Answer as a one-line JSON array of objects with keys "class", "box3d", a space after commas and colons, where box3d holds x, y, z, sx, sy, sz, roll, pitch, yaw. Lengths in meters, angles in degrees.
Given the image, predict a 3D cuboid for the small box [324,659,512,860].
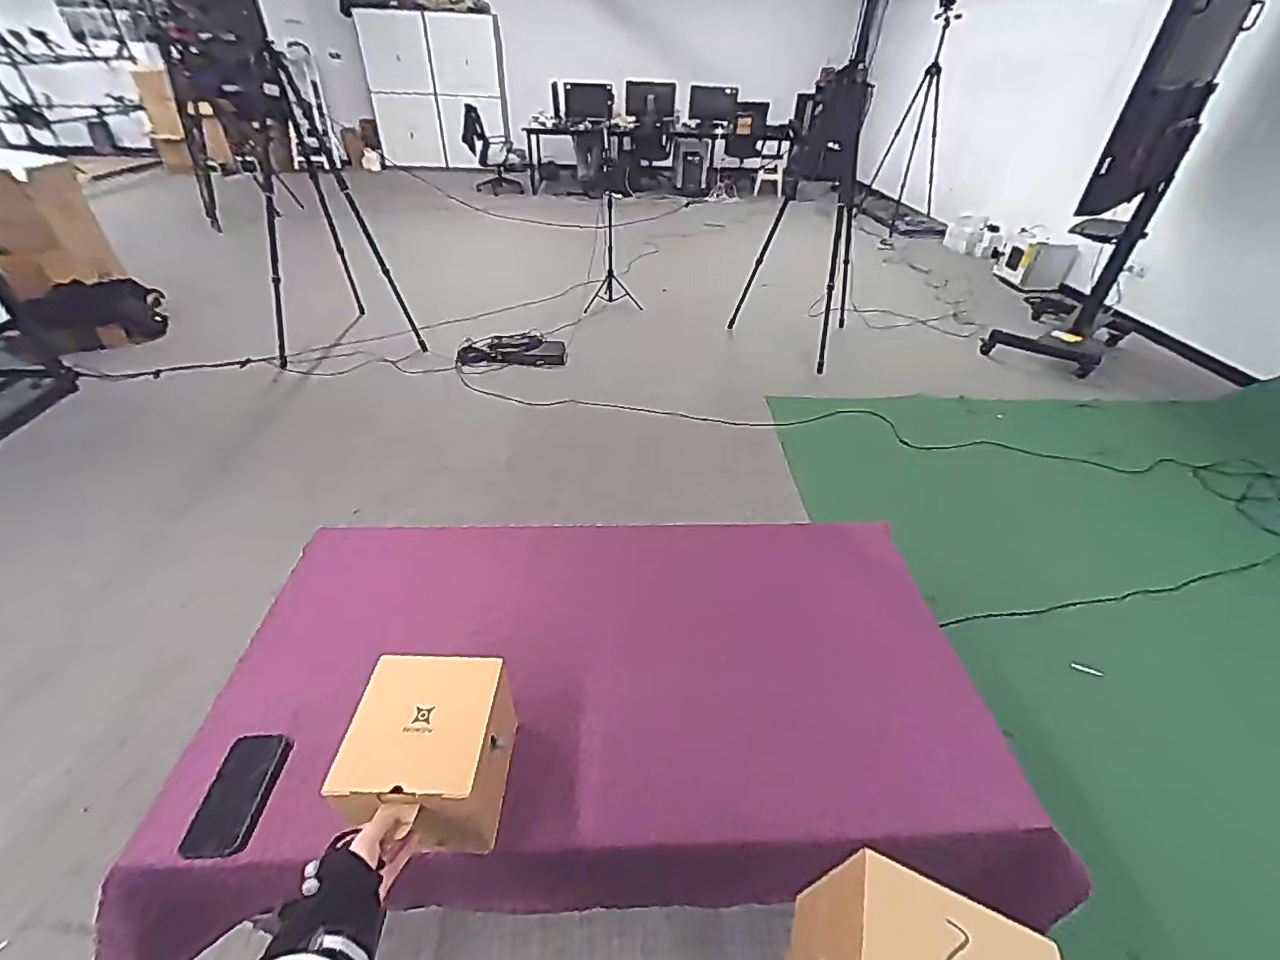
[{"class": "small box", "box3d": [-0.267, 0.359, 0.702, 0.168, 0.176, 0.179, 3, 38, -1]}]
